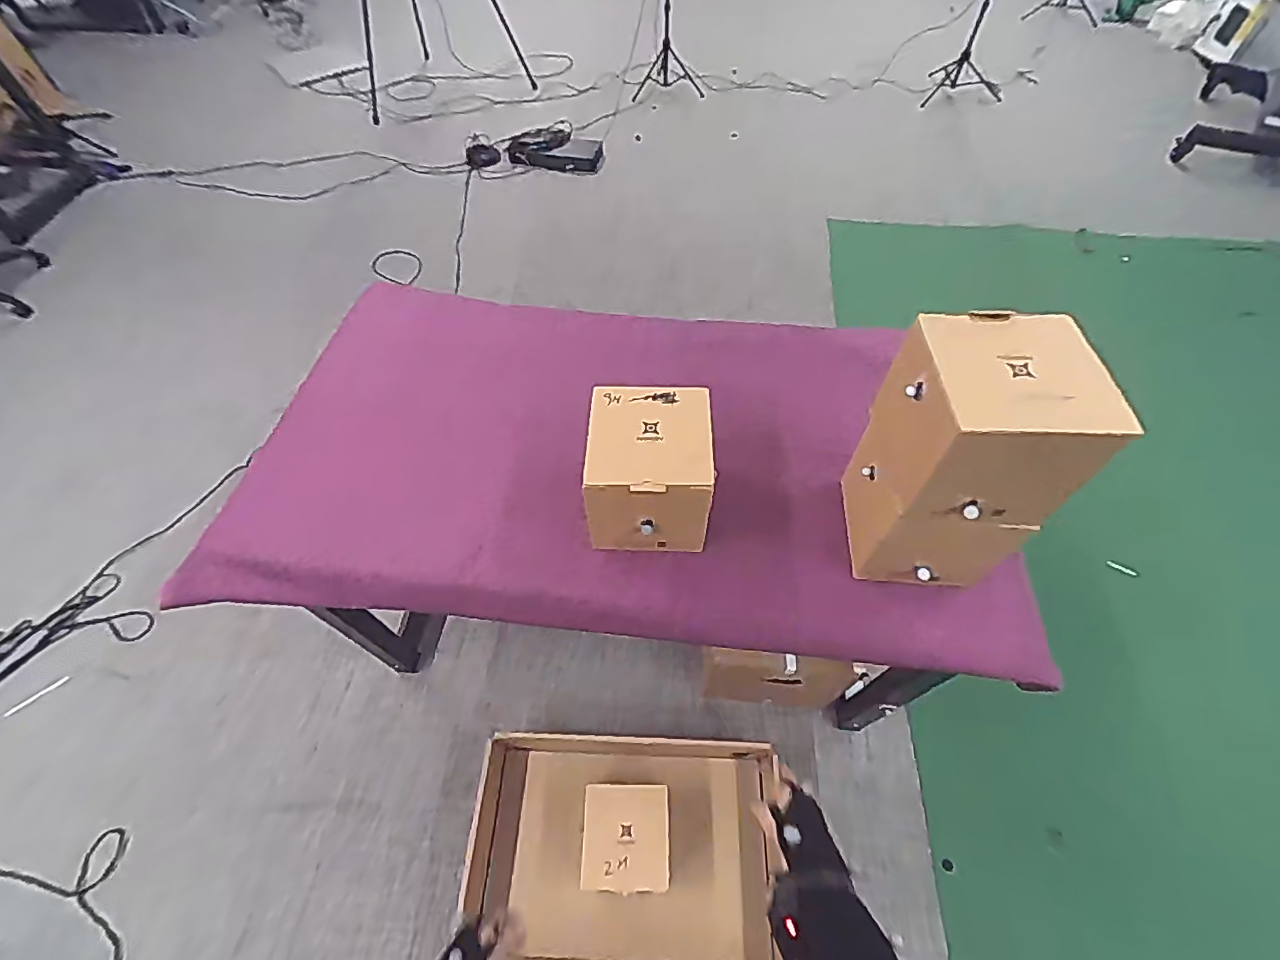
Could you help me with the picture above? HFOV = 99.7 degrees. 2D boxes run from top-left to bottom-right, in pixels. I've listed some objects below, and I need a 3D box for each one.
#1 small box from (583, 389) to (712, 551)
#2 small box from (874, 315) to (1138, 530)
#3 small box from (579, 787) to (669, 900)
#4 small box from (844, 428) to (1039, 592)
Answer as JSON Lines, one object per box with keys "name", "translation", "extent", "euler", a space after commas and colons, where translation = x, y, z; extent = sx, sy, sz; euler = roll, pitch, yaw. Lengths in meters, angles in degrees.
{"name": "small box", "translation": [0.015, -0.010, 0.783], "extent": [0.168, 0.176, 0.179], "euler": [2, 54, 2]}
{"name": "small box", "translation": [0.385, -0.063, 0.615], "extent": [0.168, 0.176, 0.179], "euler": [2, 54, 4]}
{"name": "small box", "translation": [-0.027, 0.730, 1.090], "extent": [0.168, 0.176, 0.179], "euler": [0, 56, 2]}
{"name": "small box", "translation": [0.393, 0.034, 0.745], "extent": [0.168, 0.176, 0.179], "euler": [4, 54, 5]}
